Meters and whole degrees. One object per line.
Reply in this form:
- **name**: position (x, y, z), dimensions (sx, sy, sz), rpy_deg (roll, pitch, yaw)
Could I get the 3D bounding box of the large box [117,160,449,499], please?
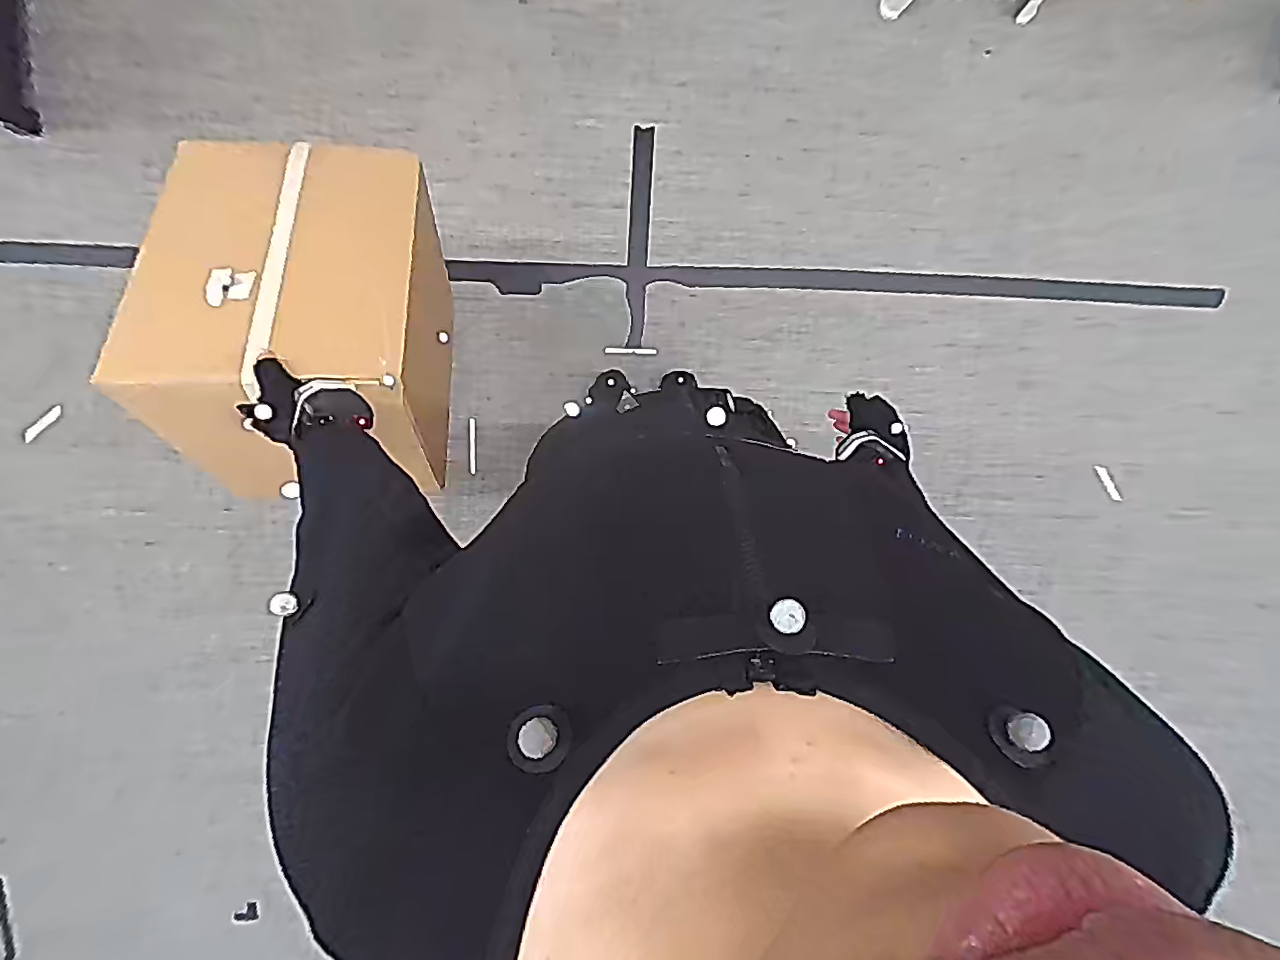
- **large box**: position (-0.481, -0.215, 0.840), dimensions (0.320, 0.320, 0.408), rpy_deg (-3, 65, -10)
